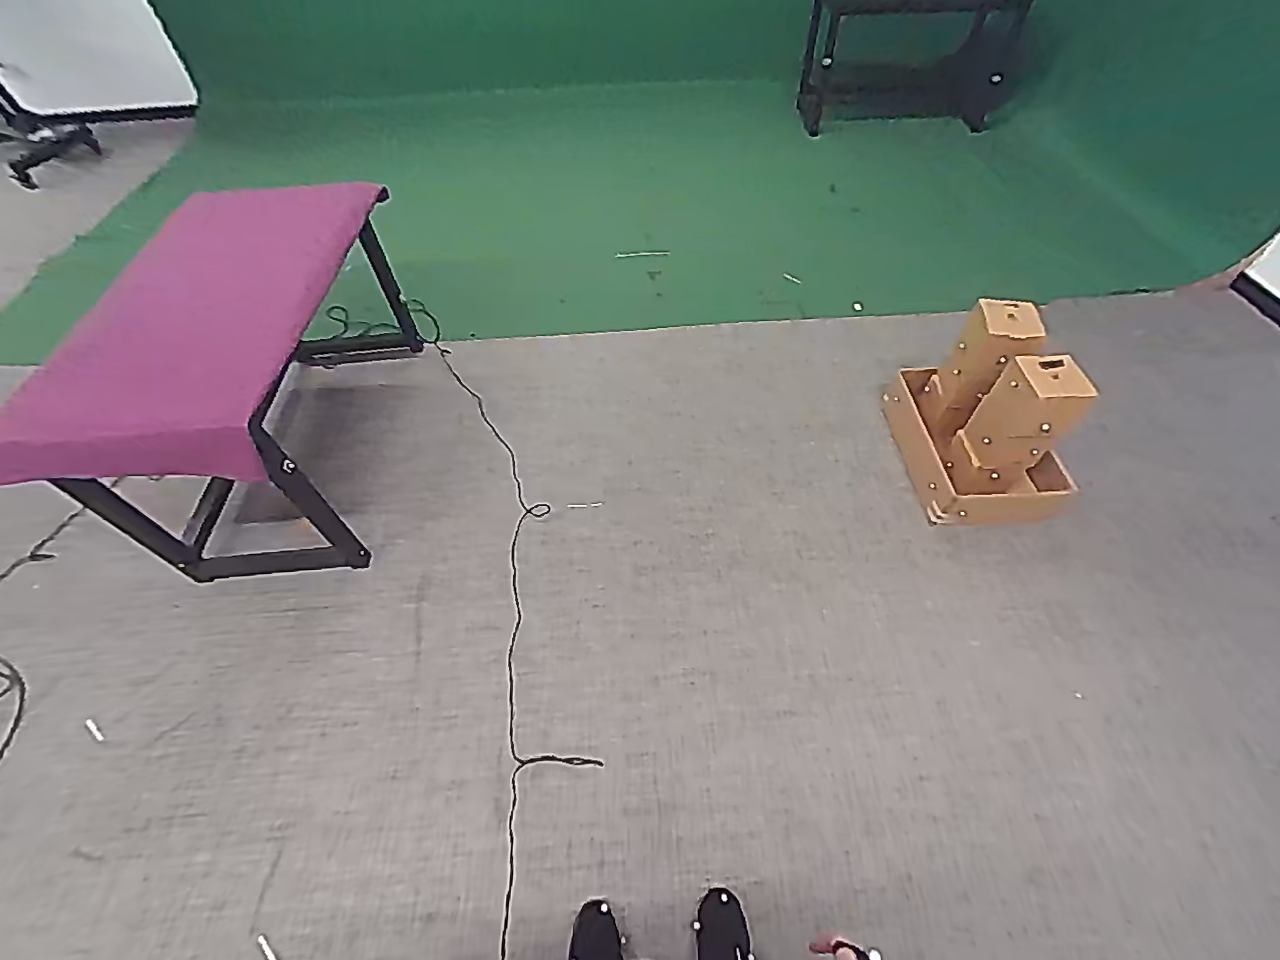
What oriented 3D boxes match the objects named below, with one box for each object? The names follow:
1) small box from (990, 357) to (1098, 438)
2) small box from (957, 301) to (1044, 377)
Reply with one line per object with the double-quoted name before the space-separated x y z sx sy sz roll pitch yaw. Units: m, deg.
"small box" 1.185 -0.245 1.606 0.168 0.176 0.179 -2 53 1
"small box" 1.165 -0.456 1.762 0.168 0.176 0.179 8 56 7
